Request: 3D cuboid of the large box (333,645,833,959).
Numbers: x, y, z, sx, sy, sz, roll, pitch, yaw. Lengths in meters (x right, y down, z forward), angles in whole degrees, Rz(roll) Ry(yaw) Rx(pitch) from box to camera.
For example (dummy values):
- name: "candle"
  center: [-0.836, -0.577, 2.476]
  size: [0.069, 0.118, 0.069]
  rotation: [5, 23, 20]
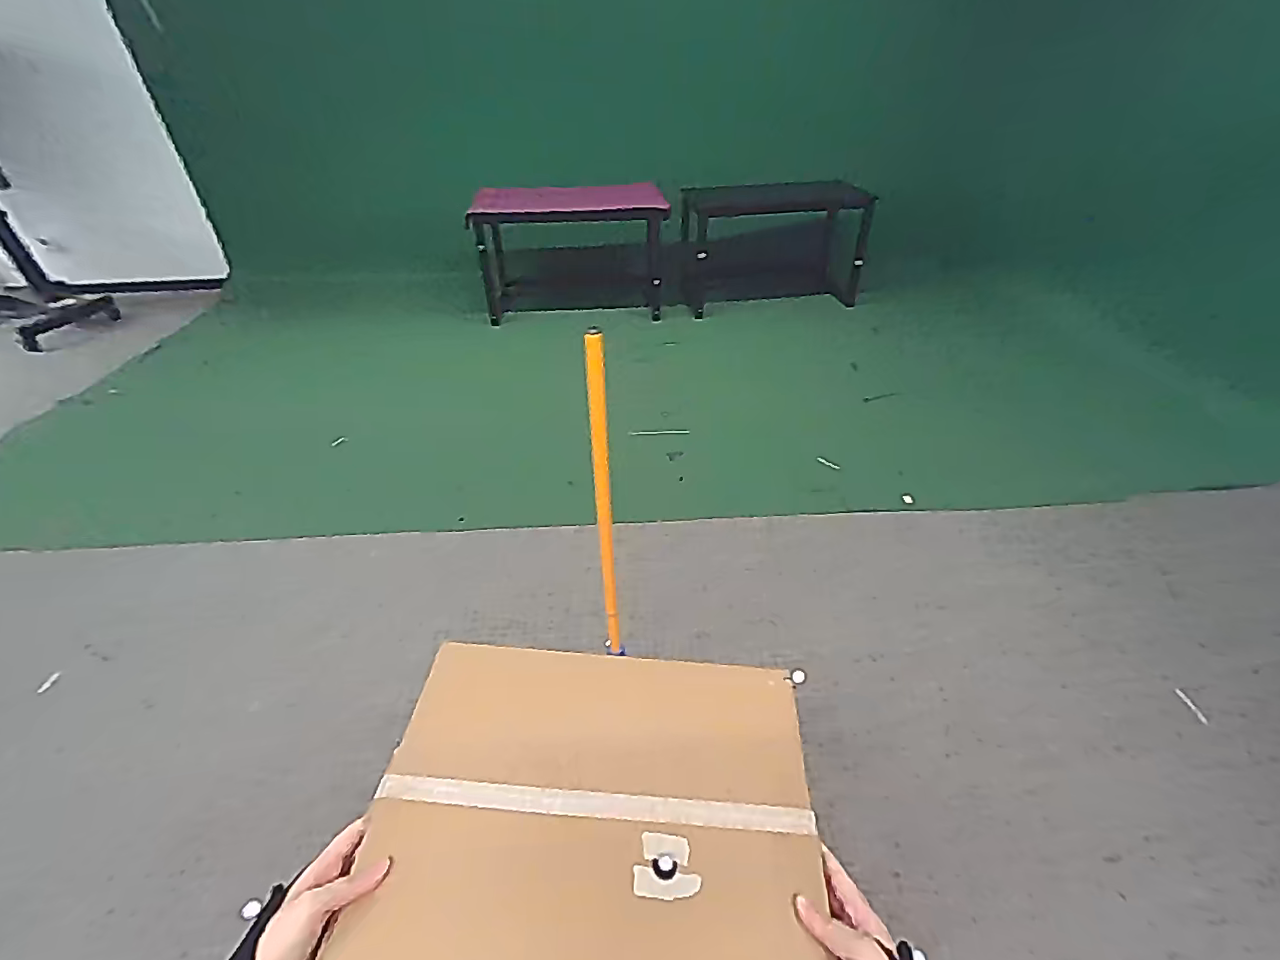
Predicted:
- name: "large box"
  center: [-0.044, 0.420, 0.612]
  size: [0.408, 0.320, 0.320]
  rotation: [5, 41, 1]
